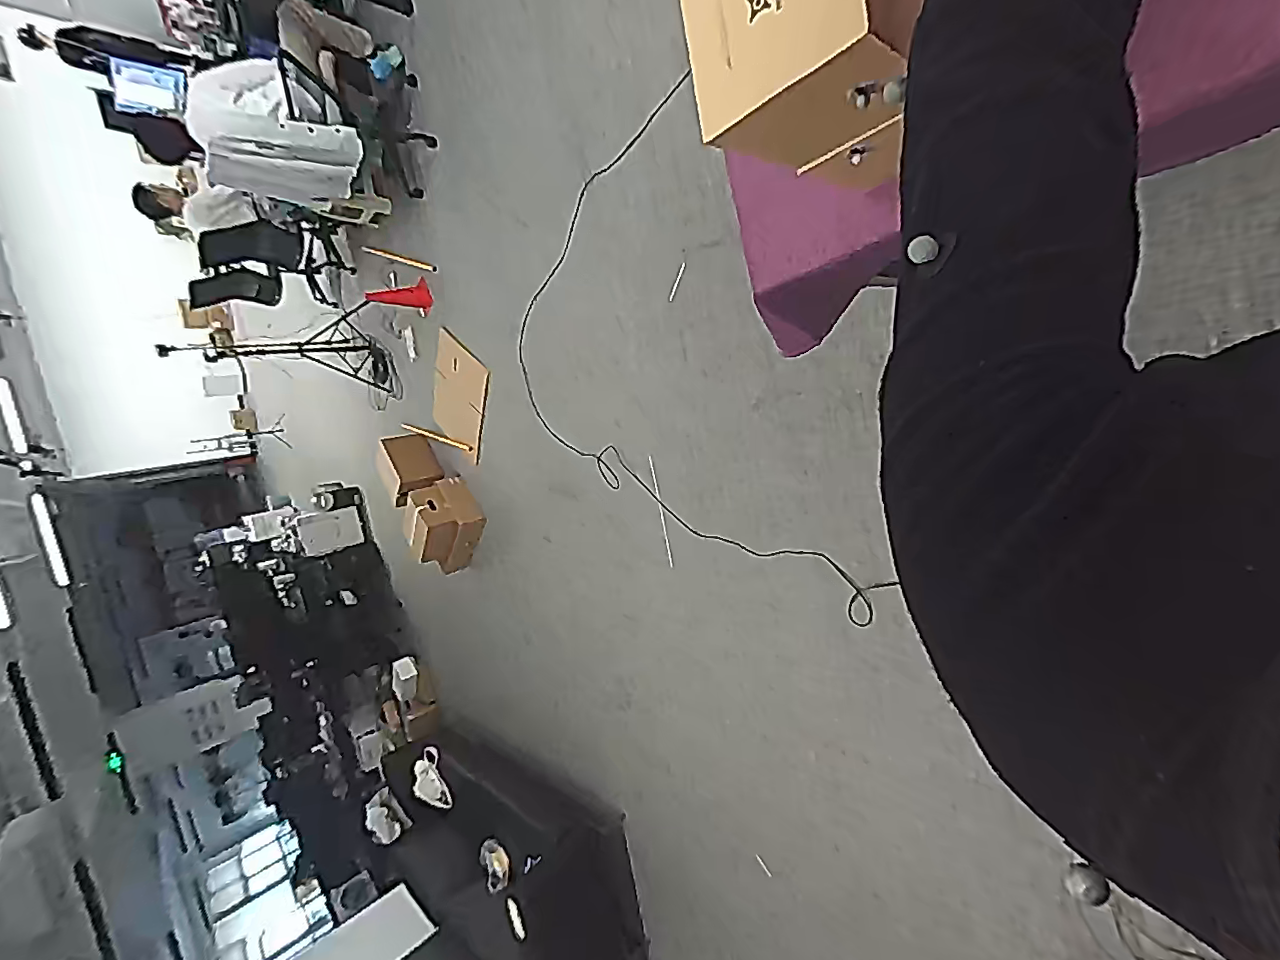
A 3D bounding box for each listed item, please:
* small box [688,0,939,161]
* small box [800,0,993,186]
[{"bbox_3d":[0.173,-0.446,0.531,0.179,0.176,0.168,-2,100,49],"label":"small box"},{"bbox_3d":[0.293,-0.480,0.638,0.168,0.176,0.179,-4,98,49],"label":"small box"}]
